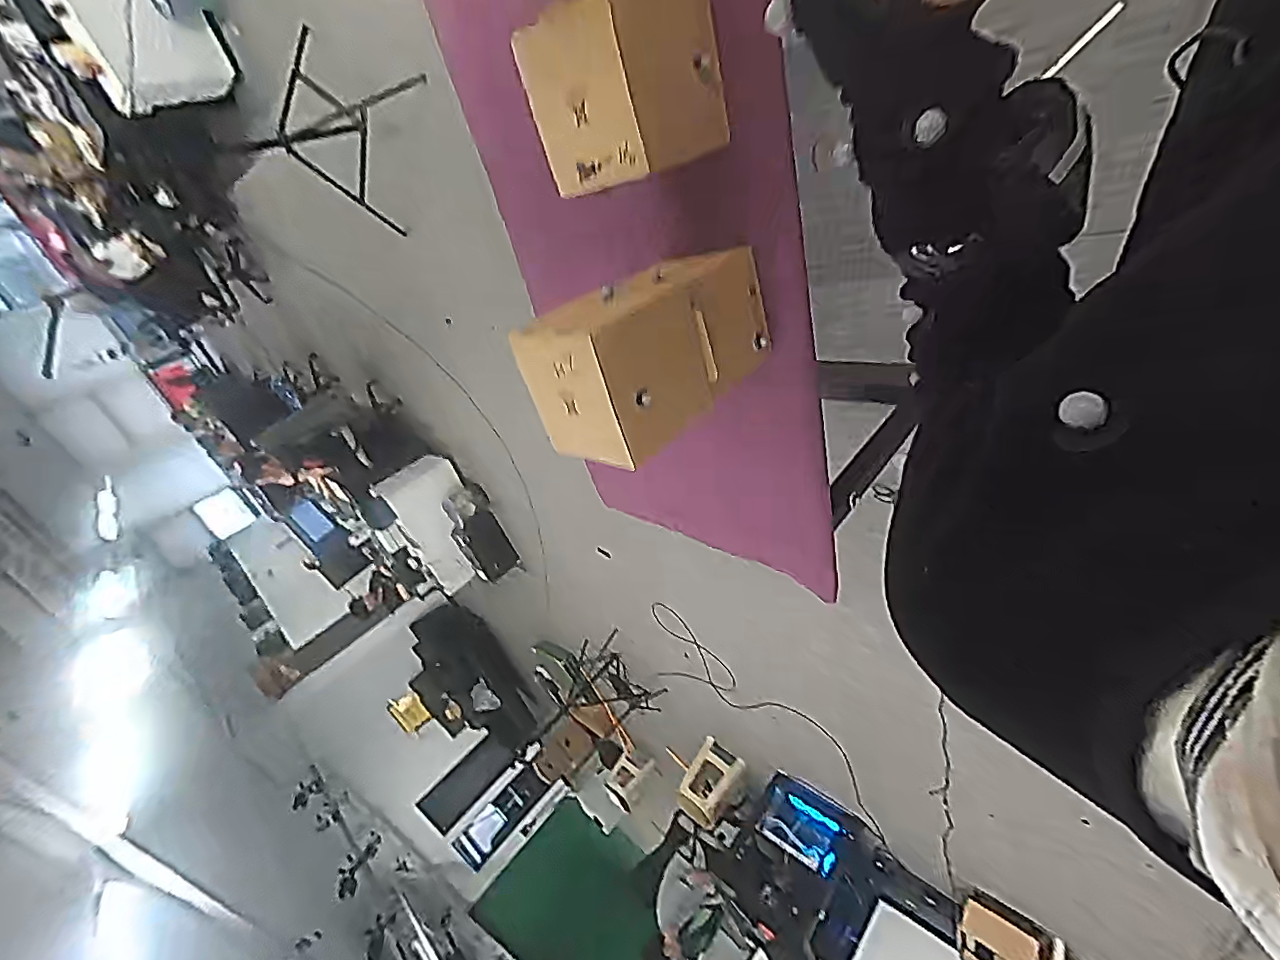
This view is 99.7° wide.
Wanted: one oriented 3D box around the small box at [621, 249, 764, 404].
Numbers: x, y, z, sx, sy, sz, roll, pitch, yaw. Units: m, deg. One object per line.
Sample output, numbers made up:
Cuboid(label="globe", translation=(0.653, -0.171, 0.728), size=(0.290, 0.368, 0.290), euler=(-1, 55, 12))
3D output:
Cuboid(label="small box", translation=(0.067, -0.227, 0.805), size=(0.179, 0.176, 0.168), euler=(13, 133, 45))

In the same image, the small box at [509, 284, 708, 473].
Cuboid(label="small box", translation=(-0.032, -0.137, 0.707), size=(0.168, 0.176, 0.179), euler=(14, 134, 43))
